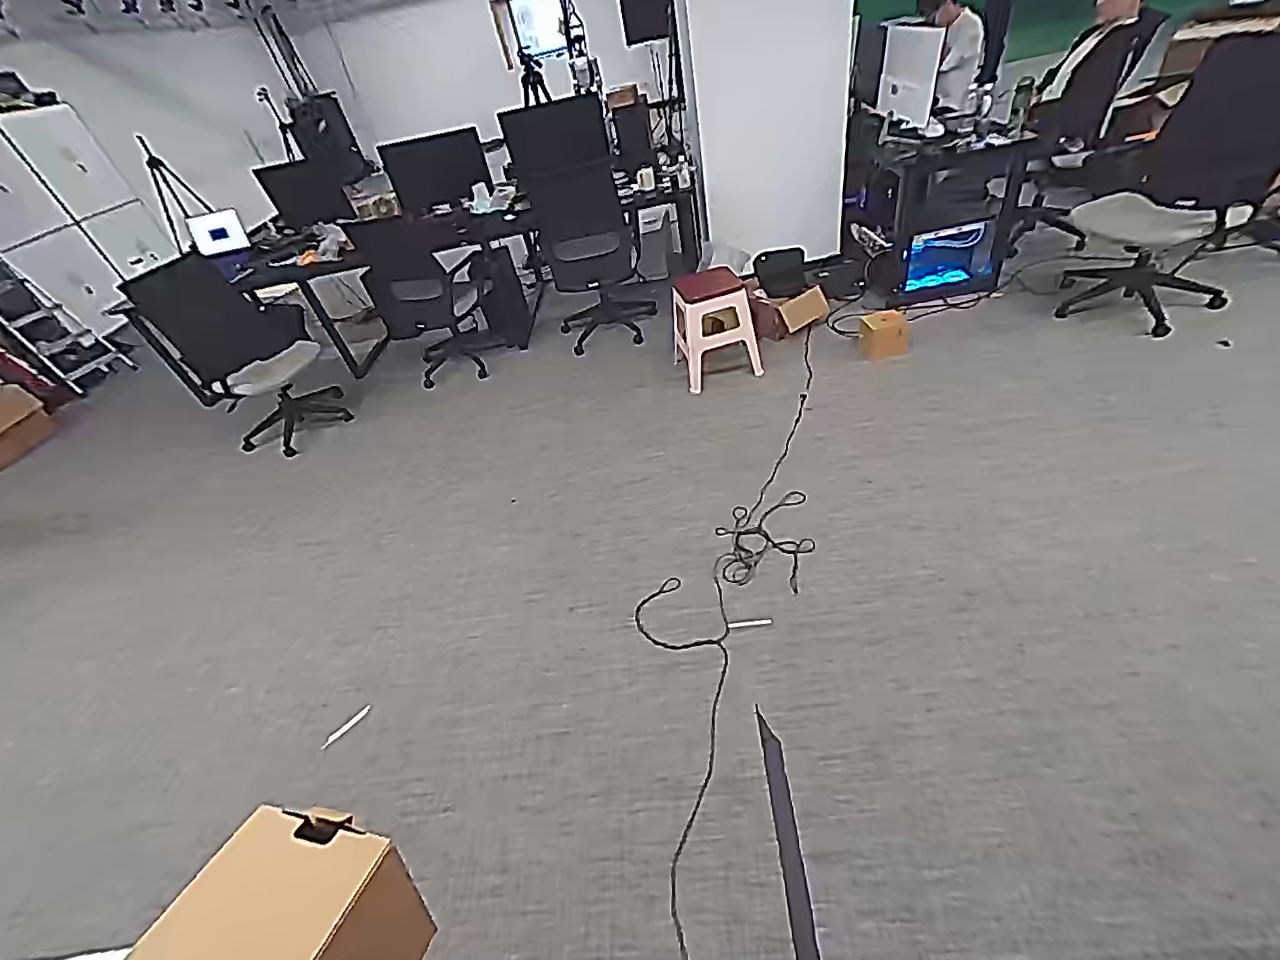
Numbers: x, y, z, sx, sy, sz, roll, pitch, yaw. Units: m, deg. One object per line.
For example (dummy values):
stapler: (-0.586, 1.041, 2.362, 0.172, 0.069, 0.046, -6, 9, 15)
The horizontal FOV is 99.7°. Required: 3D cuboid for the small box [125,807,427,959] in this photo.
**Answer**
small box: (-0.326, 0.452, 0.499, 0.168, 0.176, 0.179, 3, 27, 16)
